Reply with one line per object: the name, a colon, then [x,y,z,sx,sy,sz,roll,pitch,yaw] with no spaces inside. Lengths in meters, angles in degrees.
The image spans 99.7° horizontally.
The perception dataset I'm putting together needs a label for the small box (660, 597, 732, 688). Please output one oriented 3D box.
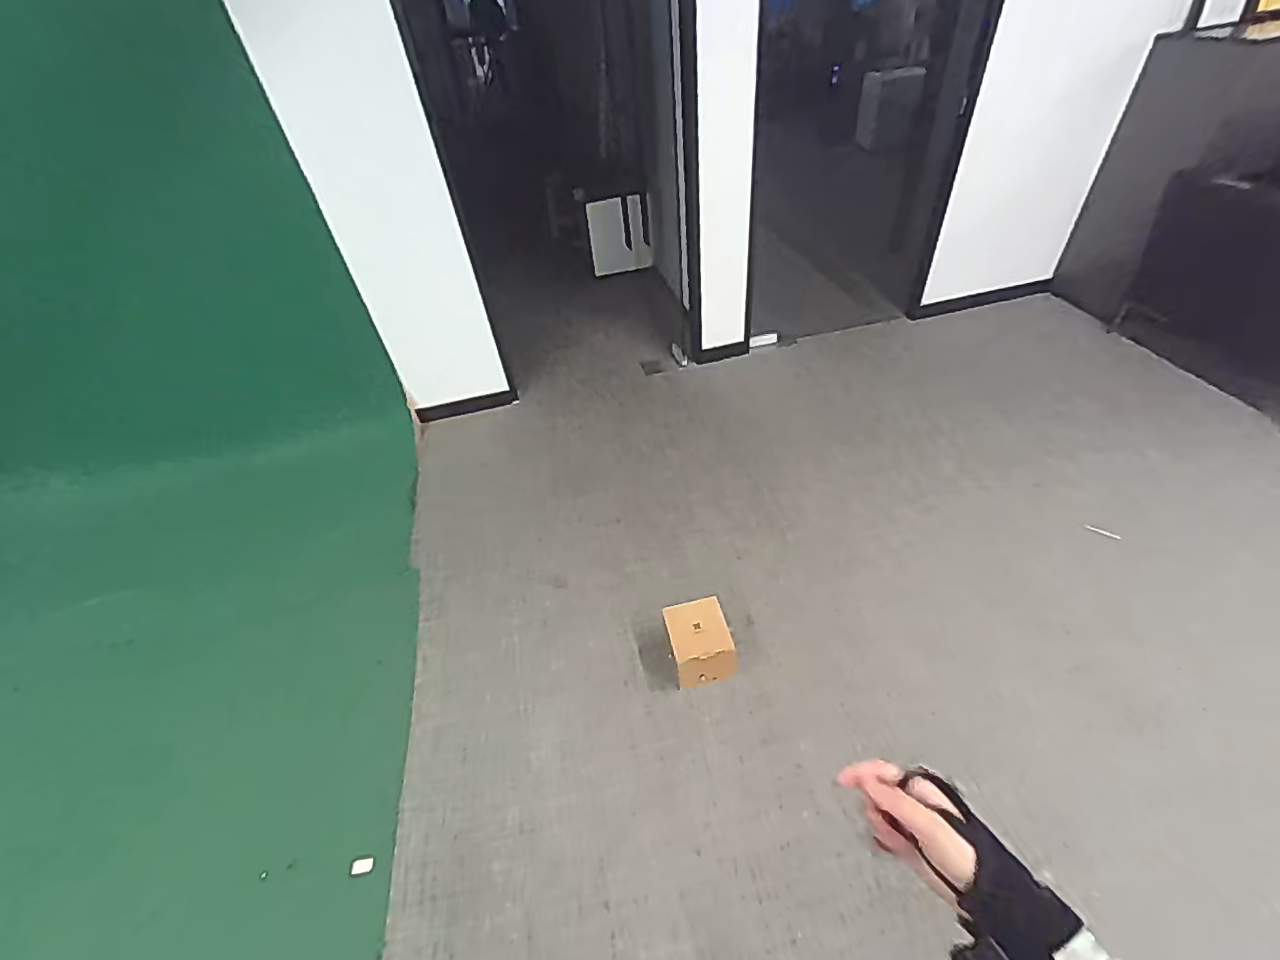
small box: [0.158,0.473,1.569,0.168,0.176,0.179,-12,44,-6]
